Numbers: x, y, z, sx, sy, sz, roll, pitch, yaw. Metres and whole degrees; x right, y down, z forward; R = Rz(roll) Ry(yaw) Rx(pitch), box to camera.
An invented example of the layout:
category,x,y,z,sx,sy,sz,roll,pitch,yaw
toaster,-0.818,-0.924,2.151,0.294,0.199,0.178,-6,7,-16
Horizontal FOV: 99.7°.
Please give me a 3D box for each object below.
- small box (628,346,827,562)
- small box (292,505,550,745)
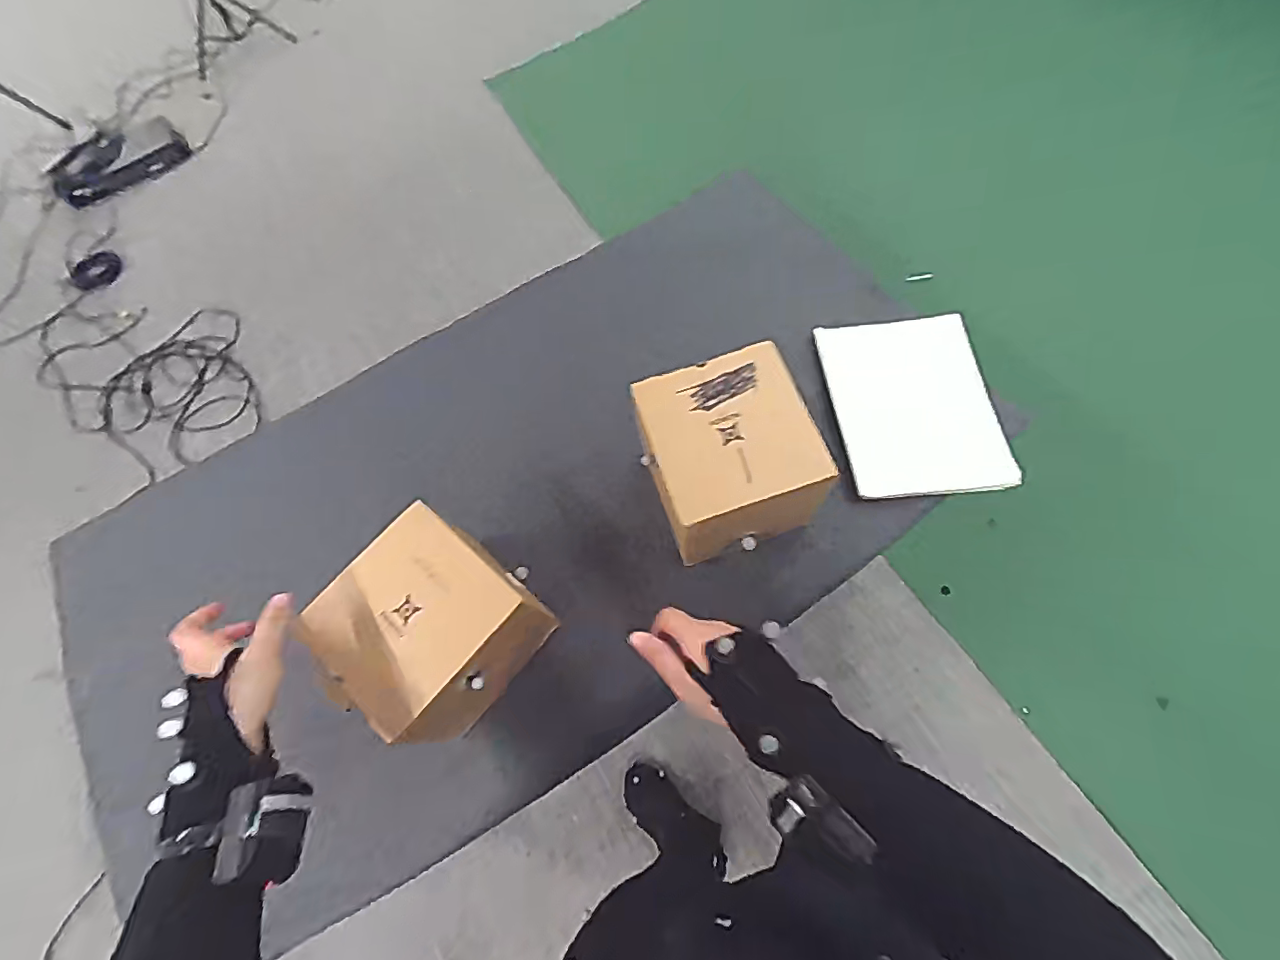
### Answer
category,x,y,z,sx,sy,sz,roll,pitch,yaw
small box,0.094,-0.023,0.646,0.168,0.176,0.179,-19,68,-1
small box,-0.226,0.164,0.608,0.168,0.176,0.179,37,75,17
